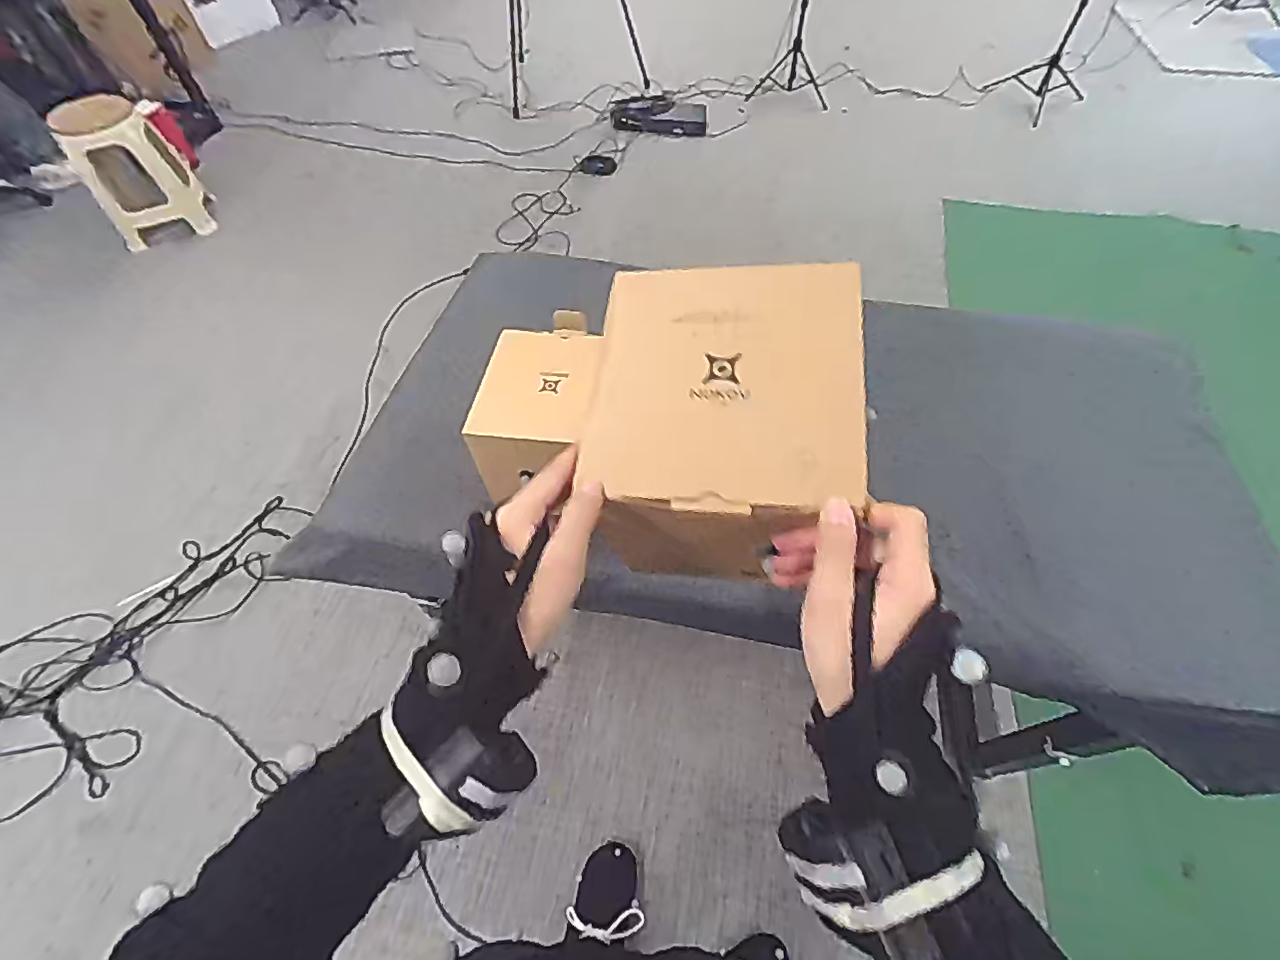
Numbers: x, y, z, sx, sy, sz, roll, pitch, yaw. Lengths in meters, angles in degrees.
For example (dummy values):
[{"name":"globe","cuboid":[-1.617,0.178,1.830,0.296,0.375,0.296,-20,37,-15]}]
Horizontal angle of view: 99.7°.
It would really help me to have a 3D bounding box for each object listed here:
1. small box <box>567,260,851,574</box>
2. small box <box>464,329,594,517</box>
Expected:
[{"name":"small box","cuboid":[0.059,-0.035,0.408,0.168,0.176,0.179,3,65,12]},{"name":"small box","cuboid":[-0.101,-0.068,0.696,0.168,0.176,0.179,6,55,4]}]
